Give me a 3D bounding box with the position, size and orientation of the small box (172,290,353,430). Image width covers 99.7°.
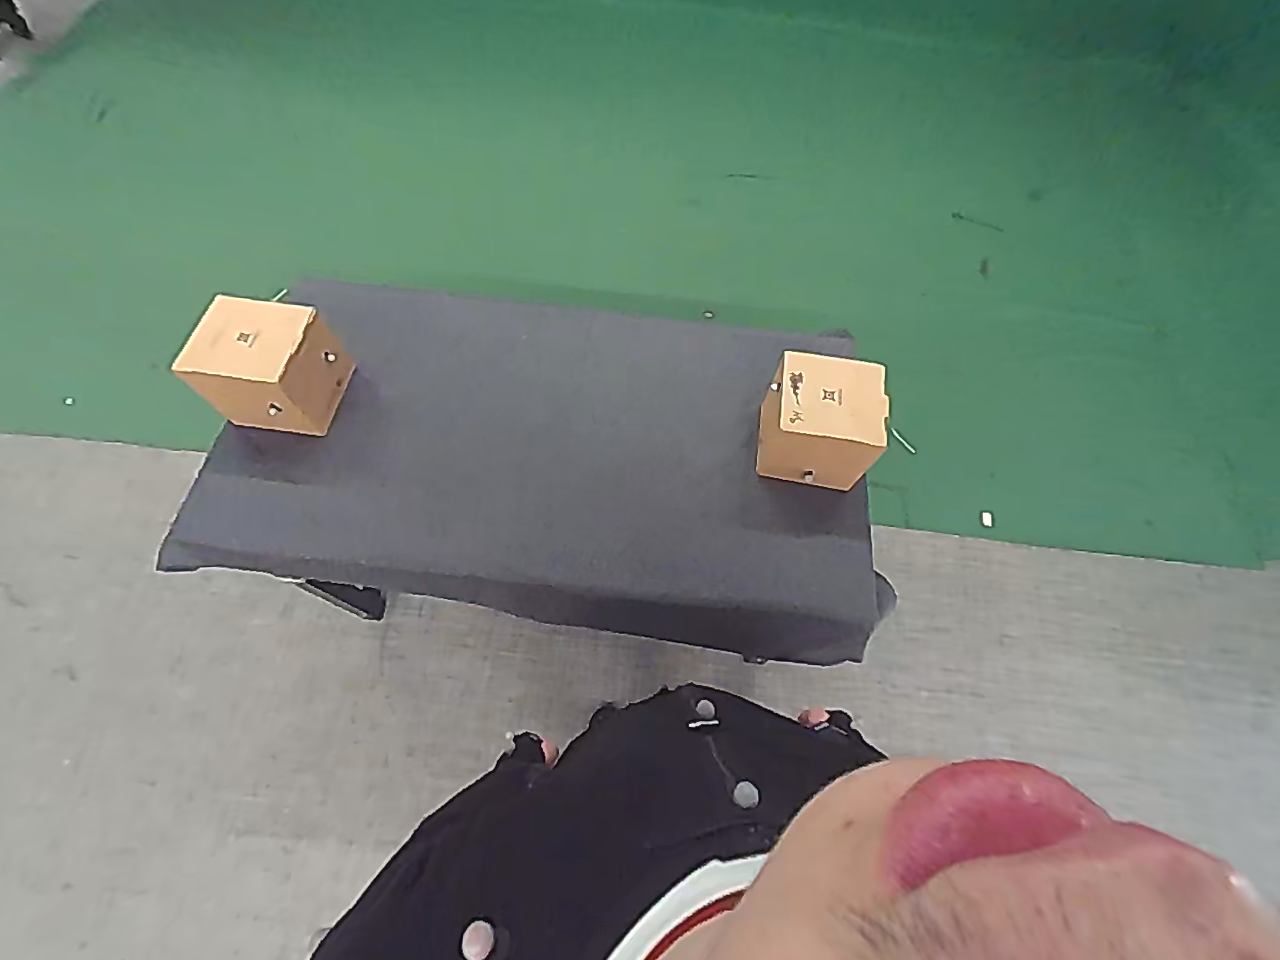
[{"bbox_3d":[-0.651,-0.206,0.963,0.179,0.176,0.168,9,62,2],"label":"small box"}]

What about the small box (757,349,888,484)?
[{"bbox_3d":[0.324,-0.106,0.975,0.179,0.176,0.168,10,65,2],"label":"small box"}]
